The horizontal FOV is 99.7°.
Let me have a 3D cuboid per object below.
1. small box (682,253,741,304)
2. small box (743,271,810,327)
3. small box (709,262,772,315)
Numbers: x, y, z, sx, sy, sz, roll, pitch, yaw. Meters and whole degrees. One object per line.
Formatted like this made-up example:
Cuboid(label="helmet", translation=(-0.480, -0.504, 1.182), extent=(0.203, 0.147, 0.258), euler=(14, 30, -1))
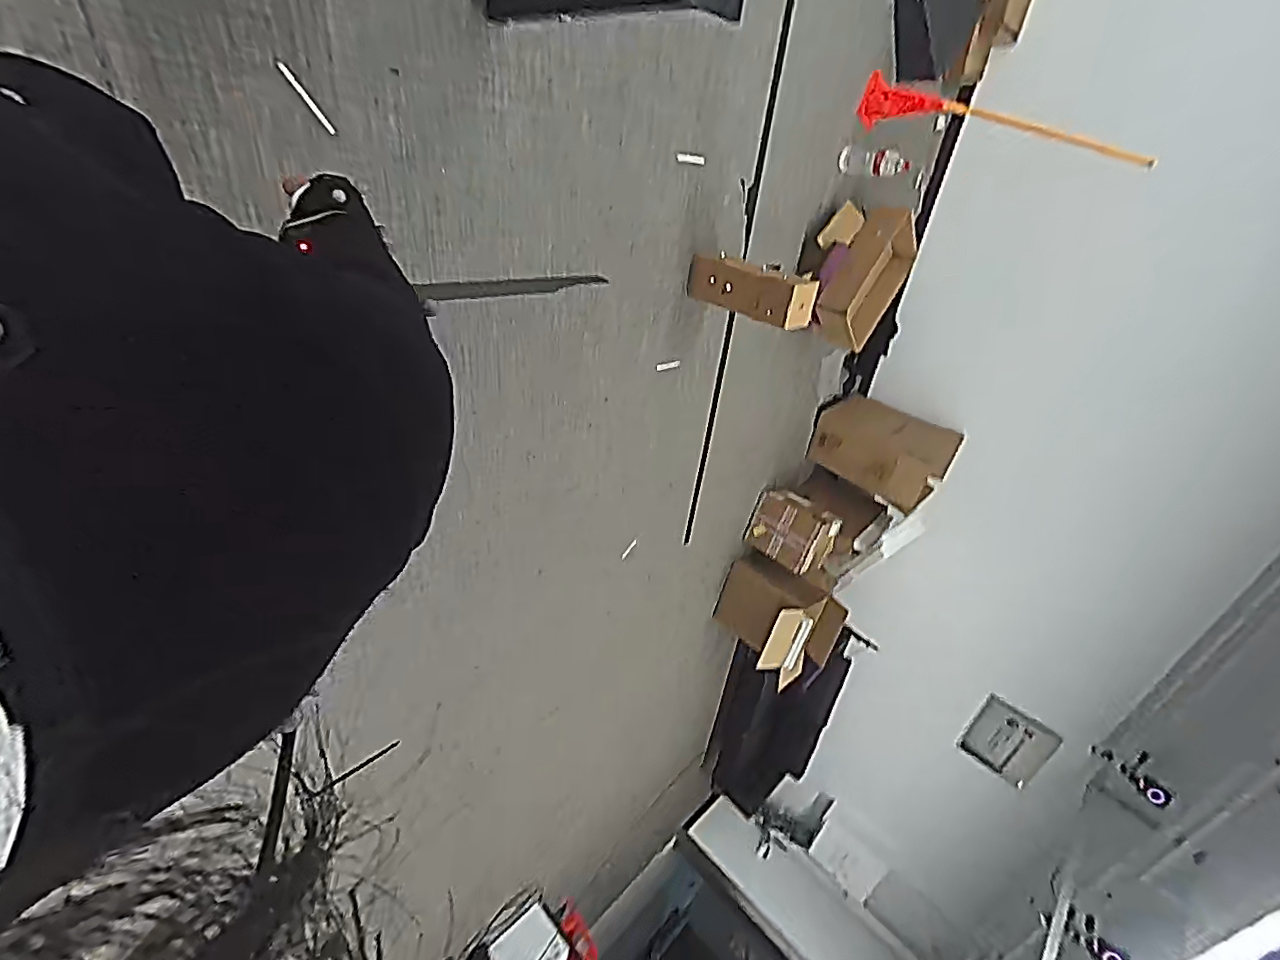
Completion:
Cuboid(label="small box", translation=(0.295, -0.849, 2.265), extent=(0.168, 0.176, 0.179), euler=(-22, 133, -40))
Cuboid(label="small box", translation=(0.521, -0.701, 2.082), extent=(0.179, 0.176, 0.168), euler=(-24, 135, -40))
Cuboid(label="small box", translation=(0.406, -0.773, 2.170), extent=(0.179, 0.176, 0.168), euler=(-22, 132, -40))
